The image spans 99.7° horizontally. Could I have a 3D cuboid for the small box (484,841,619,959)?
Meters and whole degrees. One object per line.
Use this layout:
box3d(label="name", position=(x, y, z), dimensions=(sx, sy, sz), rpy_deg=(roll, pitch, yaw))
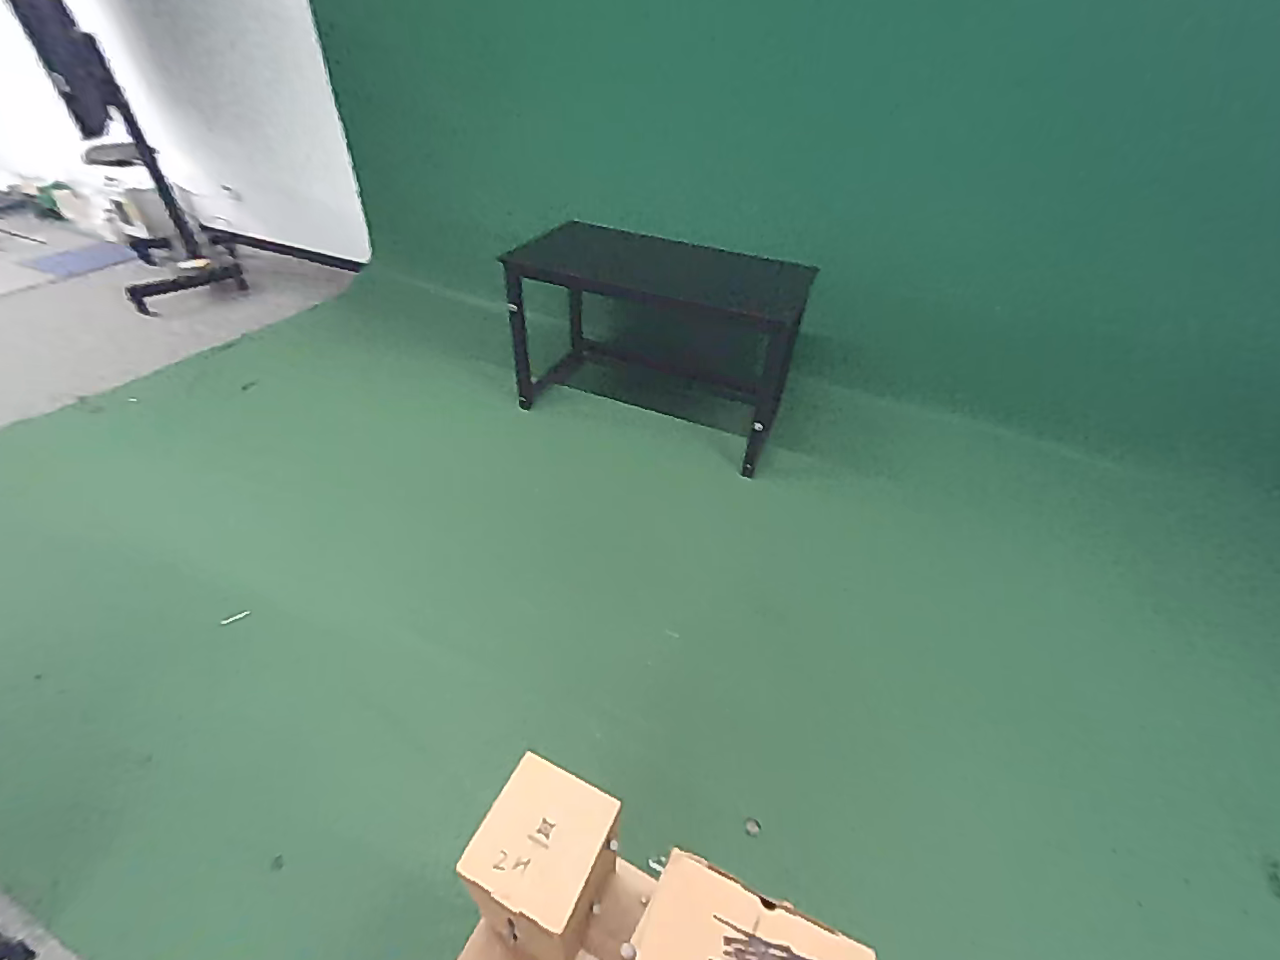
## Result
box3d(label="small box", position=(-0.150, 0.678, 0.903), dimensions=(0.168, 0.176, 0.179), rpy_deg=(20, 43, 18))

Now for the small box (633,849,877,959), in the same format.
box3d(label="small box", position=(0.063, 0.430, 0.414), dimensions=(0.168, 0.176, 0.179), rpy_deg=(18, 50, 17))

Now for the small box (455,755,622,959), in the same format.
box3d(label="small box", position=(-0.141, 0.554, 0.795), dimensions=(0.168, 0.176, 0.179), rpy_deg=(19, 42, 18))
